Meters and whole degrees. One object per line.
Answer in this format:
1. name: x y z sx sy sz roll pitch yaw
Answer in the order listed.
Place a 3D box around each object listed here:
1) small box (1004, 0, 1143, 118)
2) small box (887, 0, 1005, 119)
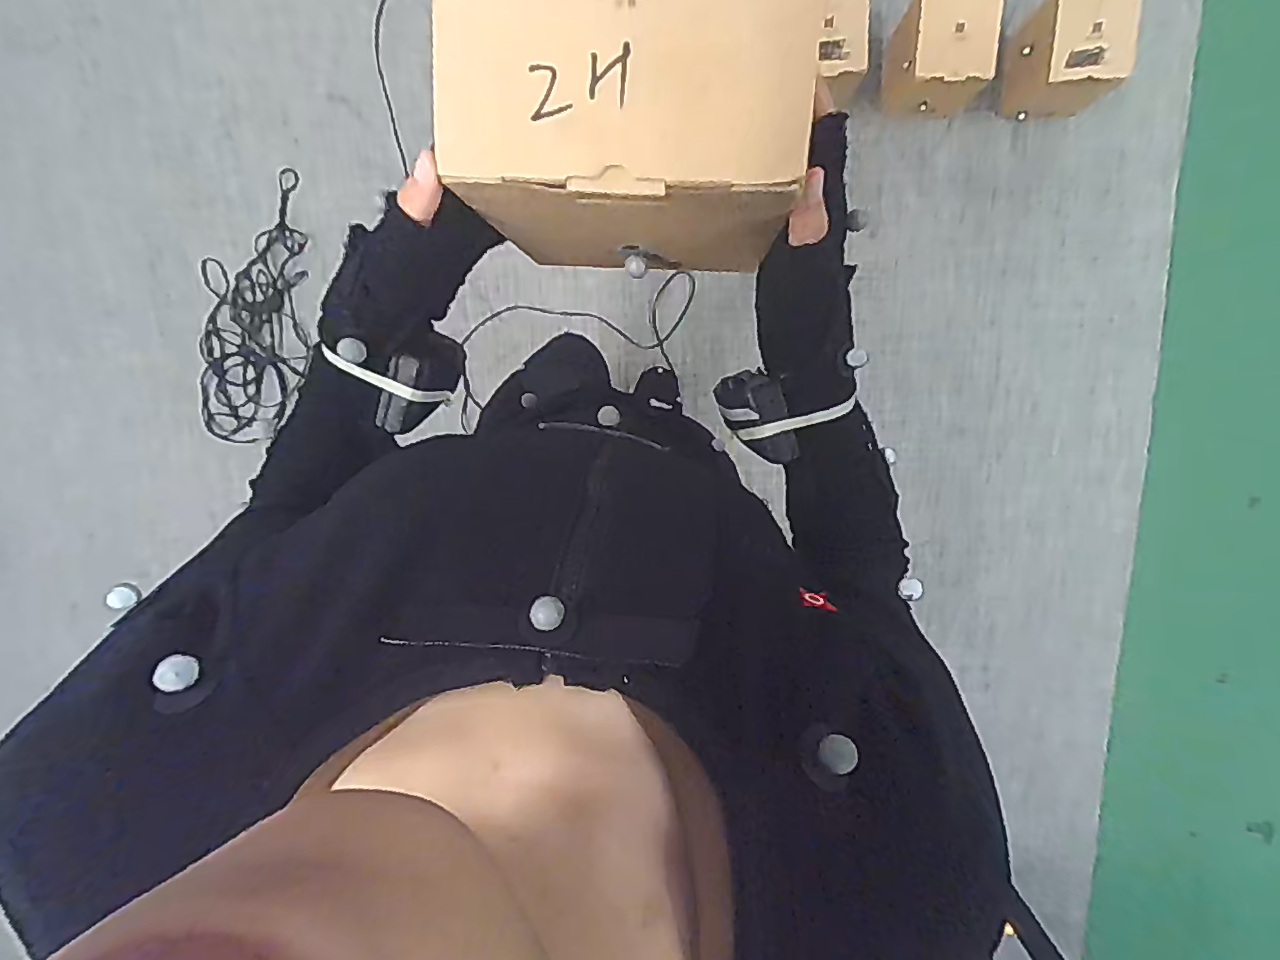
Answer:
1. small box: 0.930 -0.917 1.178 0.168 0.176 0.179 0 100 3
2. small box: 0.661 -0.930 1.189 0.168 0.176 0.179 1 101 2
